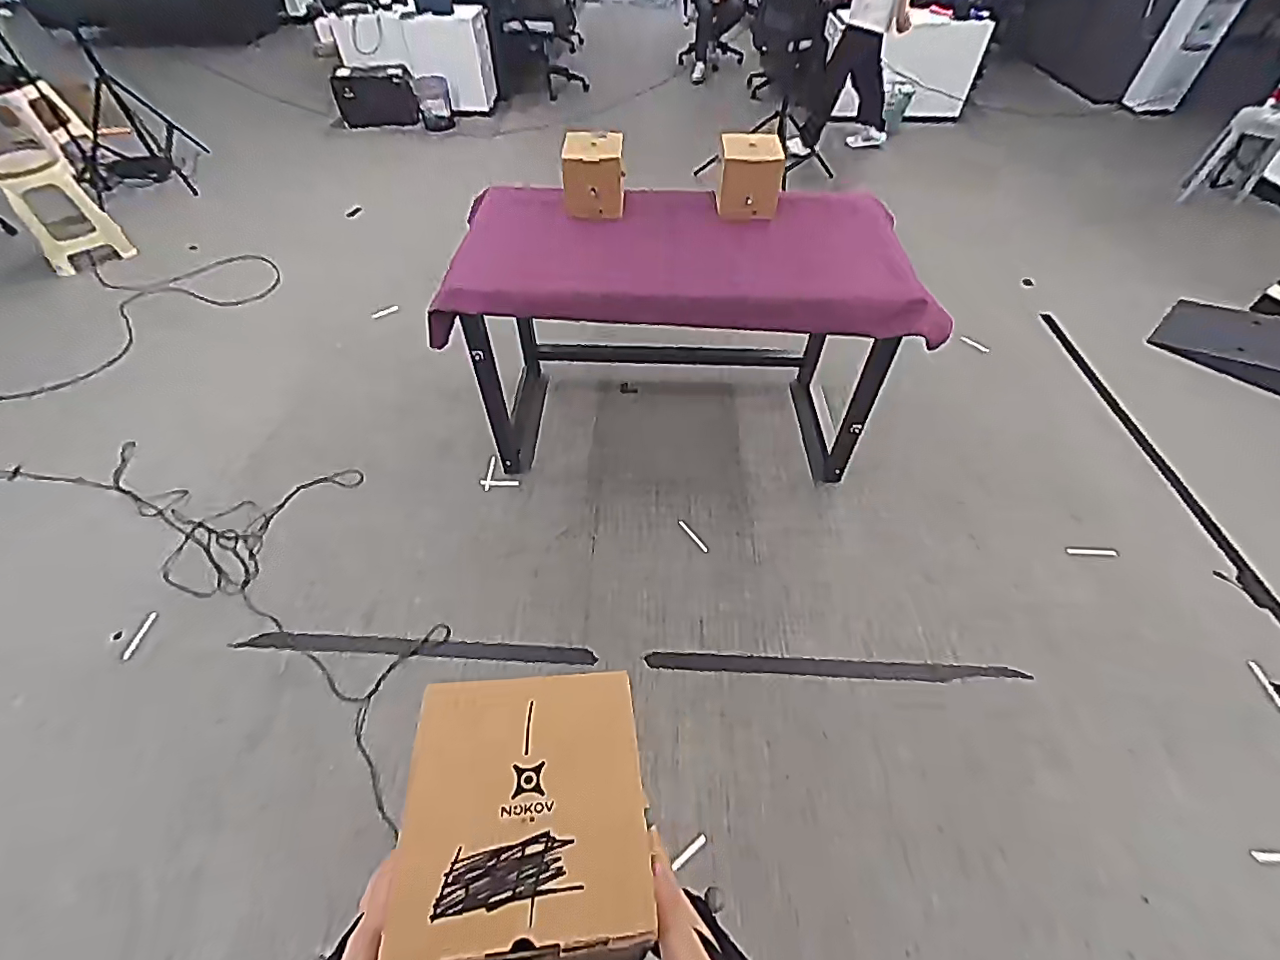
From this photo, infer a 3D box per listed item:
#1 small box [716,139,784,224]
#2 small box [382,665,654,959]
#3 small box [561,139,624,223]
[{"bbox_3d":[0.316,-0.878,1.591,0.168,0.176,0.179,1,52,2],"label":"small box"},{"bbox_3d":[-0.085,0.275,0.436,0.168,0.176,0.179,-1,41,-9],"label":"small box"},{"bbox_3d":[-0.132,-0.877,1.591,0.168,0.176,0.179,1,53,0],"label":"small box"}]
